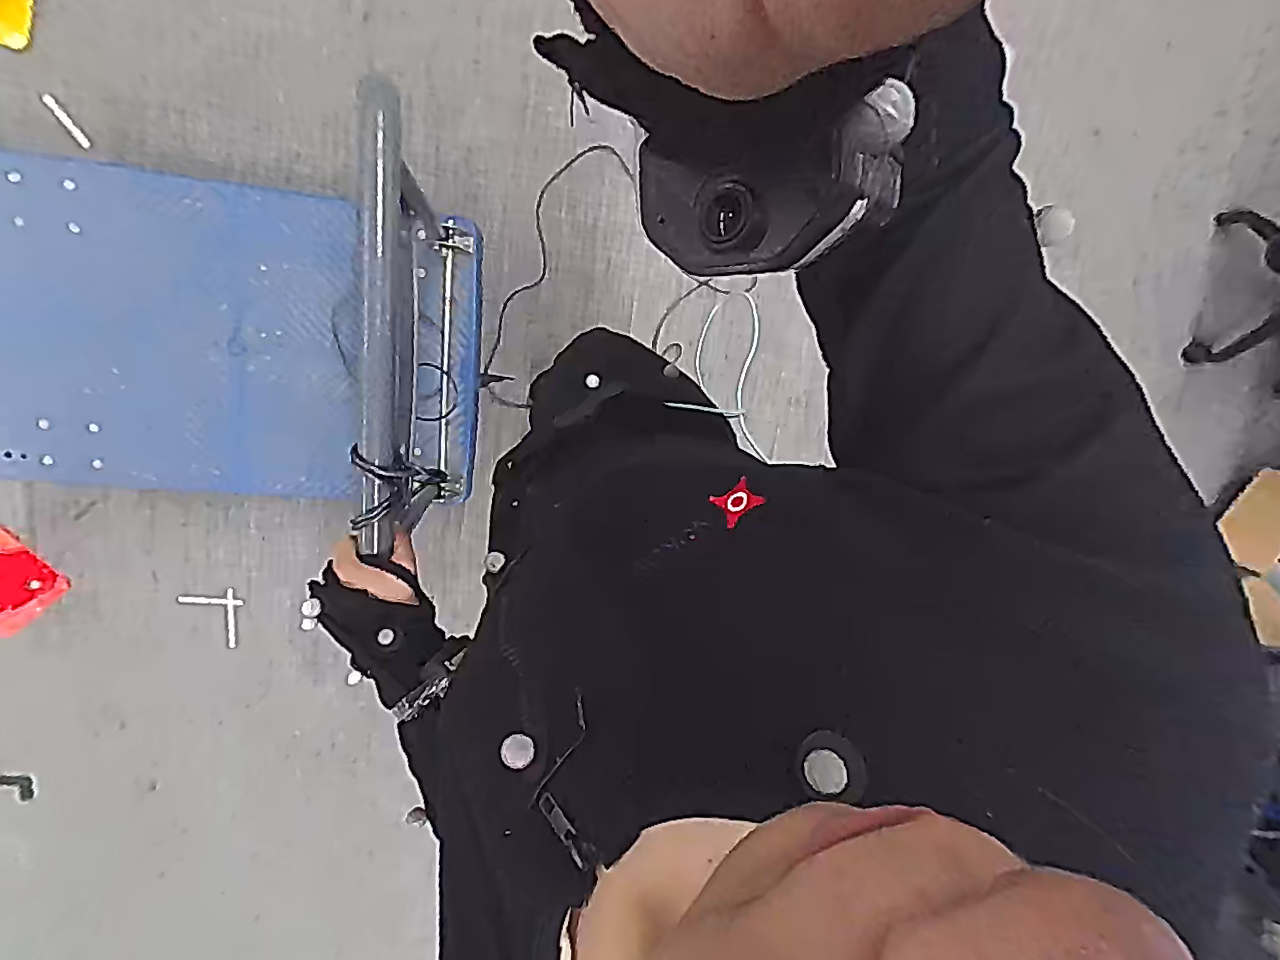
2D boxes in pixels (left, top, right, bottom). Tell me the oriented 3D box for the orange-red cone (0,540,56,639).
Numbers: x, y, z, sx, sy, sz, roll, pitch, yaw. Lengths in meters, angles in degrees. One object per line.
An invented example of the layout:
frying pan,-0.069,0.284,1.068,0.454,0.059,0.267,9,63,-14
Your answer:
orange-red cone,-1.395,0.268,1.012,0.198,0.360,0.199,-38,104,-1
